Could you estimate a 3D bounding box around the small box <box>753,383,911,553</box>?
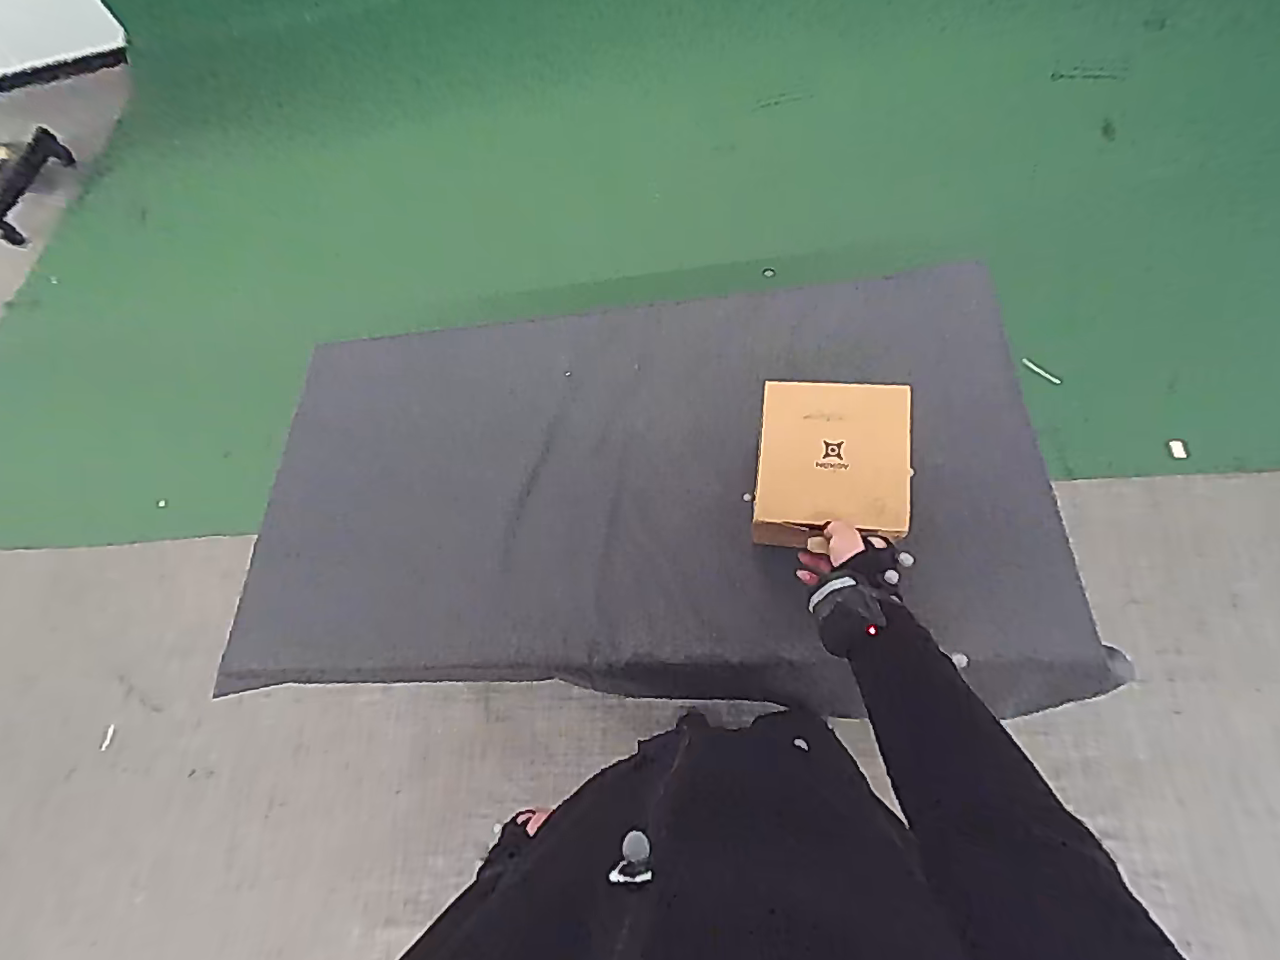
[{"bbox_3d":[0.236,-0.007,0.695,0.168,0.176,0.179,5,75,11],"label":"small box"}]
